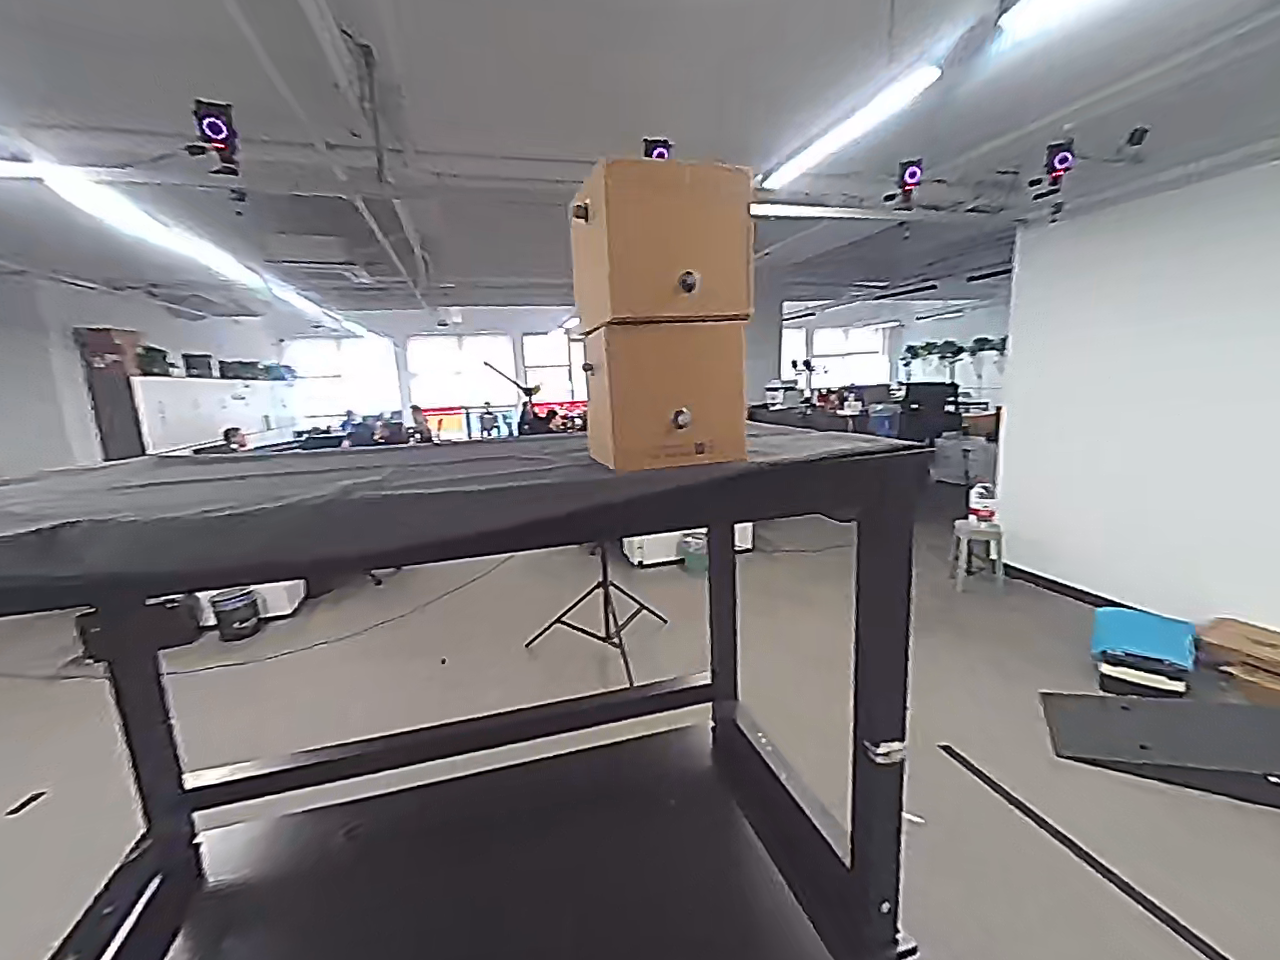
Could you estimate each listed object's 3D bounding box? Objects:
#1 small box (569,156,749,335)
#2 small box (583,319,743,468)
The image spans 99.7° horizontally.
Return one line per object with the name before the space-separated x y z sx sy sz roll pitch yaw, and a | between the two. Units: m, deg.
small box | 0.018 -0.273 0.661 0.179 0.176 0.168 -6 10 -19
small box | 0.022 -0.111 0.701 0.168 0.176 0.179 -7 10 -14
